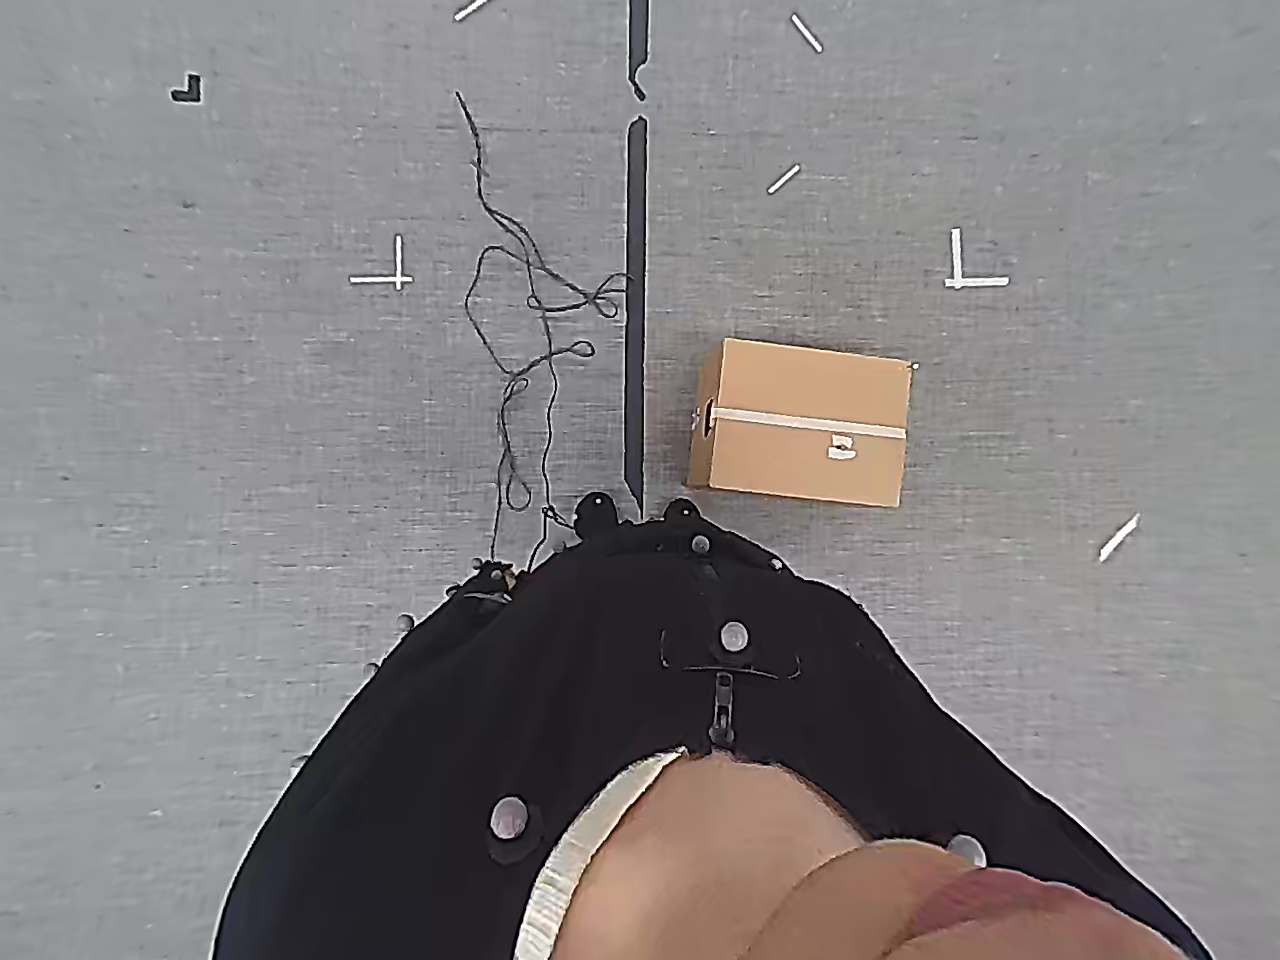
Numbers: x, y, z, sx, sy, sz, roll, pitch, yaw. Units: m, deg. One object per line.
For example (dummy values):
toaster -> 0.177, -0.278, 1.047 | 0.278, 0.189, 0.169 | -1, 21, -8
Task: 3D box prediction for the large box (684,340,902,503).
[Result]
large box -> 0.331, -0.116, 1.271 | 0.408, 0.320, 0.320 | 6, 89, -5
